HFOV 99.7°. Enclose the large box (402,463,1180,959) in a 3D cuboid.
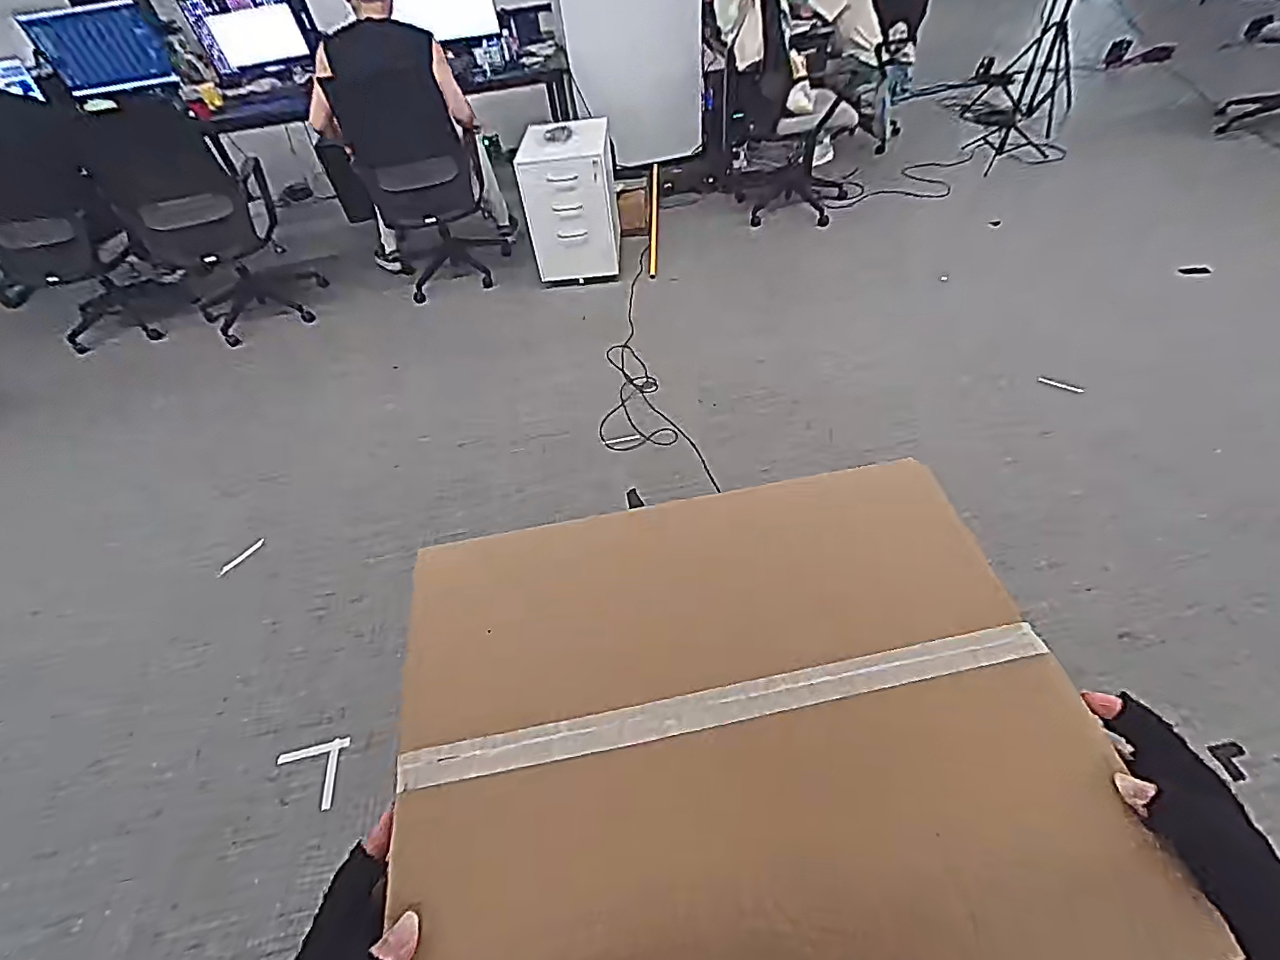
[{"bbox_3d":[0.065,0.230,0.465,0.408,0.320,0.320,-11,53,-3],"label":"large box"}]
